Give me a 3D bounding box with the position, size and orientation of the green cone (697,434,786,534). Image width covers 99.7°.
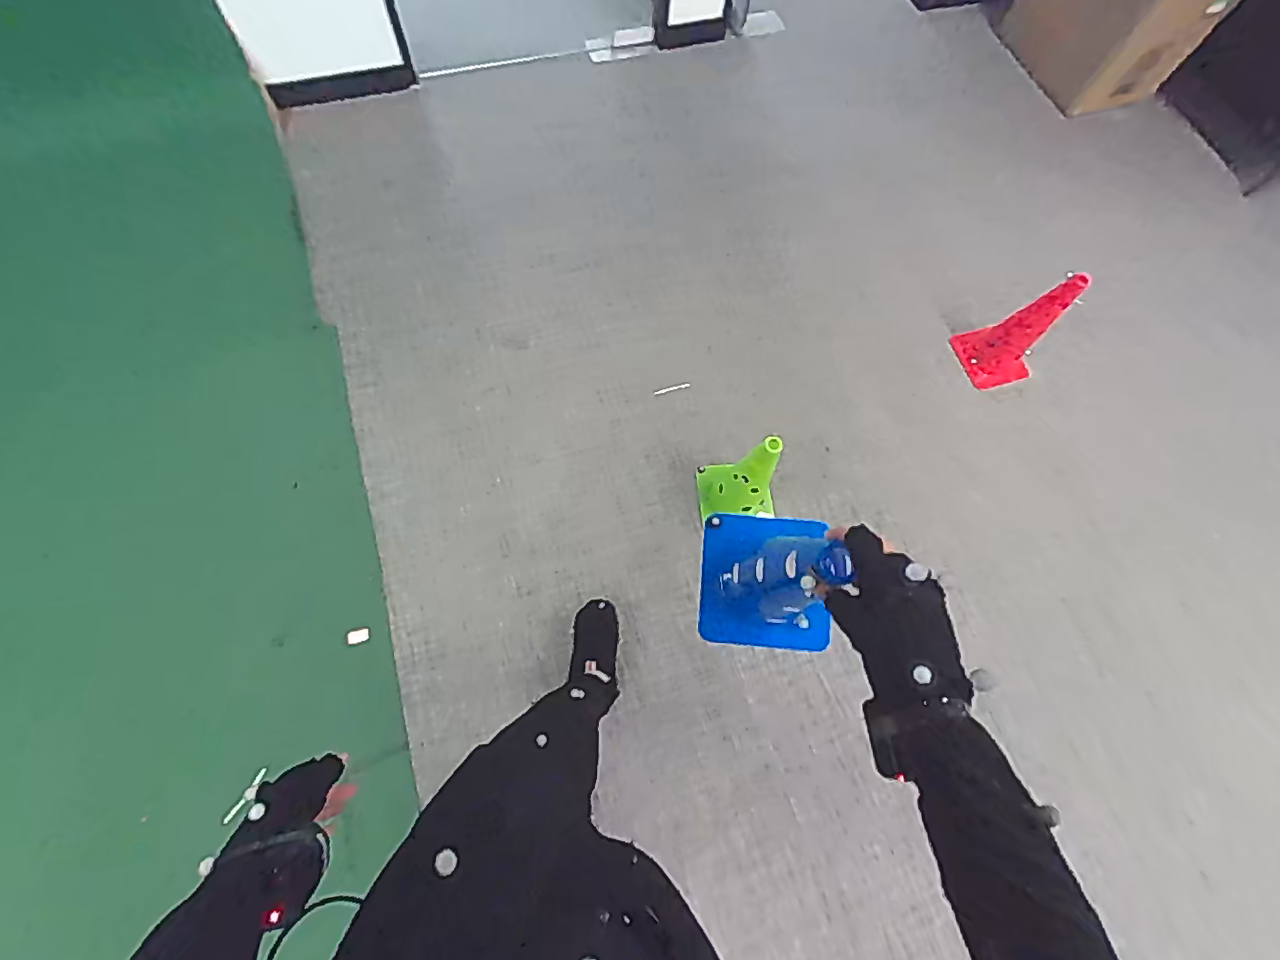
[{"bbox_3d":[0.276,-0.014,1.323,0.202,0.368,0.200,-4,69,-6],"label":"green cone"}]
